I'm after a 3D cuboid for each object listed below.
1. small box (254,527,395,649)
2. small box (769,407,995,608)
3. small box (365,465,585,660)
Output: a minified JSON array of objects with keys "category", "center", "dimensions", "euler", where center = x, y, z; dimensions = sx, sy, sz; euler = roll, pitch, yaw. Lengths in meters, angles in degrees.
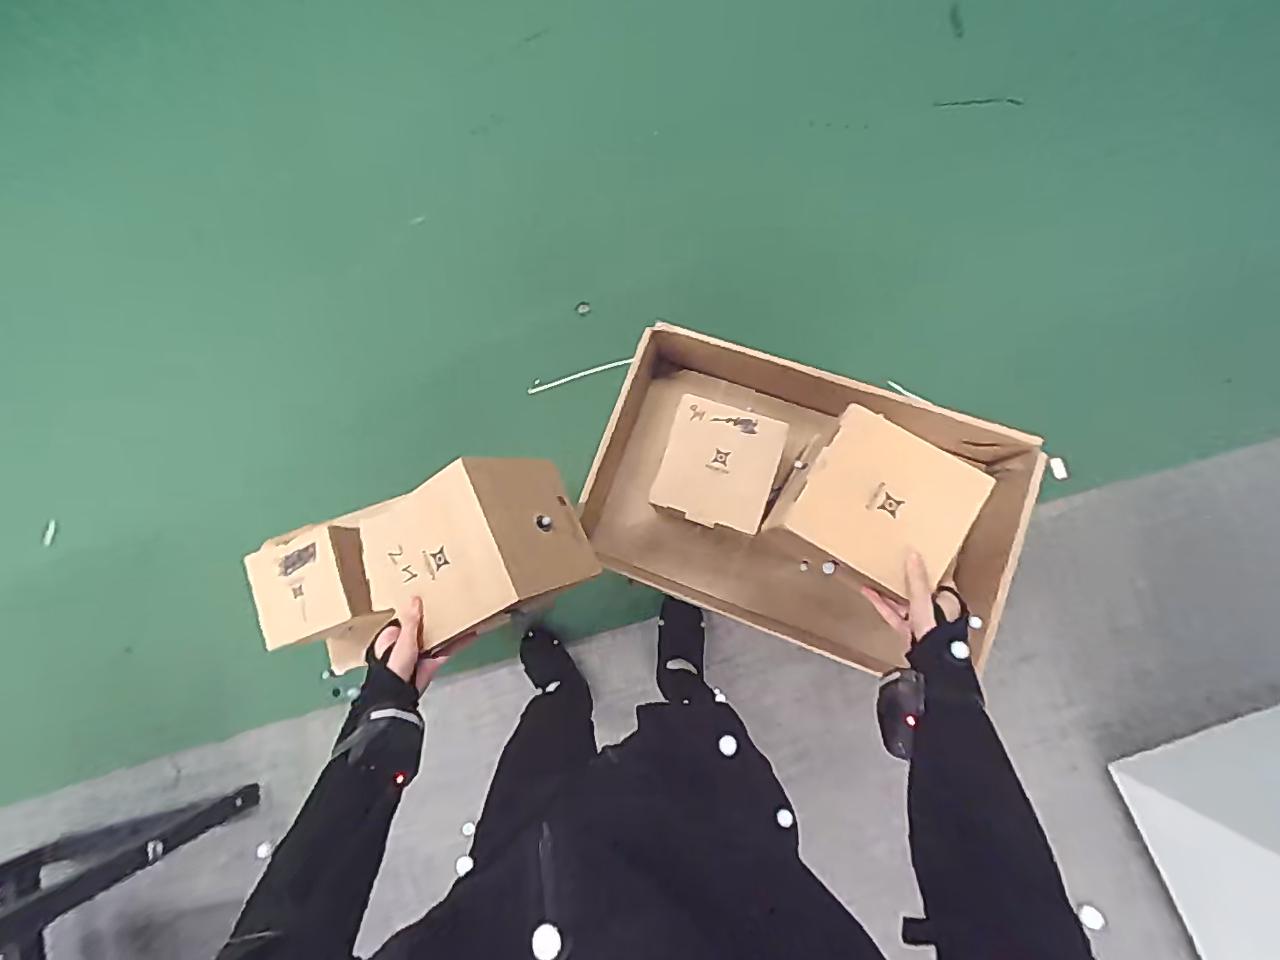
[{"category":"small box","center":[-0.581,0.202,1.030],"dimensions":[0.168,0.176,0.179],"euler":[-21,80,3]},{"category":"small box","center":[0.282,0.036,0.675],"dimensions":[0.179,0.176,0.168],"euler":[31,86,10]},{"category":"small box","center":[-0.190,0.092,0.663],"dimensions":[0.179,0.176,0.168],"euler":[-32,77,23]}]
